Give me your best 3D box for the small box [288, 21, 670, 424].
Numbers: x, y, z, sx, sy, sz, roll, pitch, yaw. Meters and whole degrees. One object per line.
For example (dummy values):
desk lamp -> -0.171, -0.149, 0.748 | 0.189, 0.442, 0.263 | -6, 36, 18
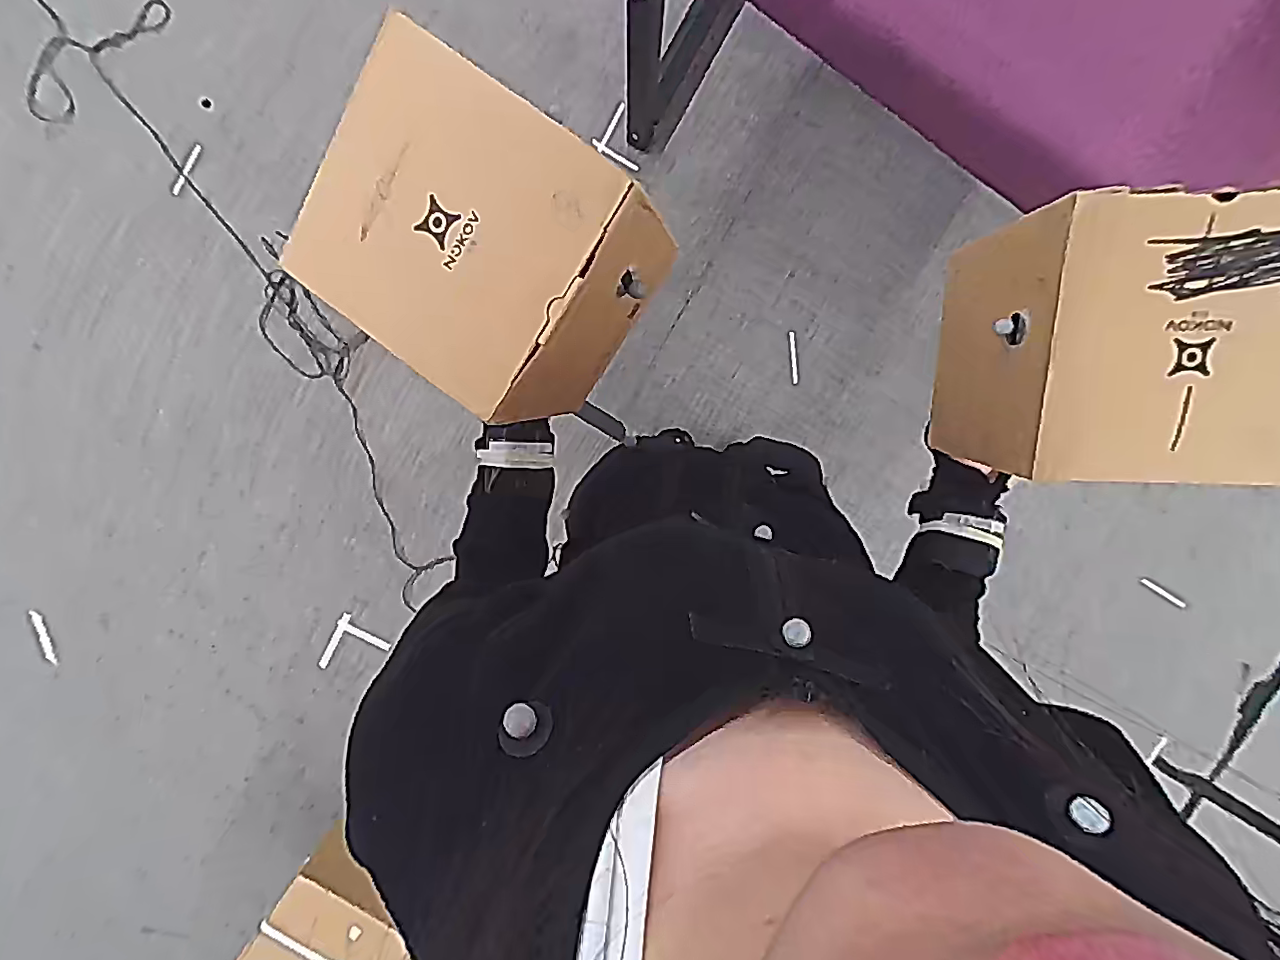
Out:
small box -> -0.097, -0.162, 0.398 | 0.179, 0.176, 0.168 | 36, 104, 5

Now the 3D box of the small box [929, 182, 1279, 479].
small box -> 0.343, -0.103, 0.411 | 0.168, 0.176, 0.179 | 1, 102, 6
